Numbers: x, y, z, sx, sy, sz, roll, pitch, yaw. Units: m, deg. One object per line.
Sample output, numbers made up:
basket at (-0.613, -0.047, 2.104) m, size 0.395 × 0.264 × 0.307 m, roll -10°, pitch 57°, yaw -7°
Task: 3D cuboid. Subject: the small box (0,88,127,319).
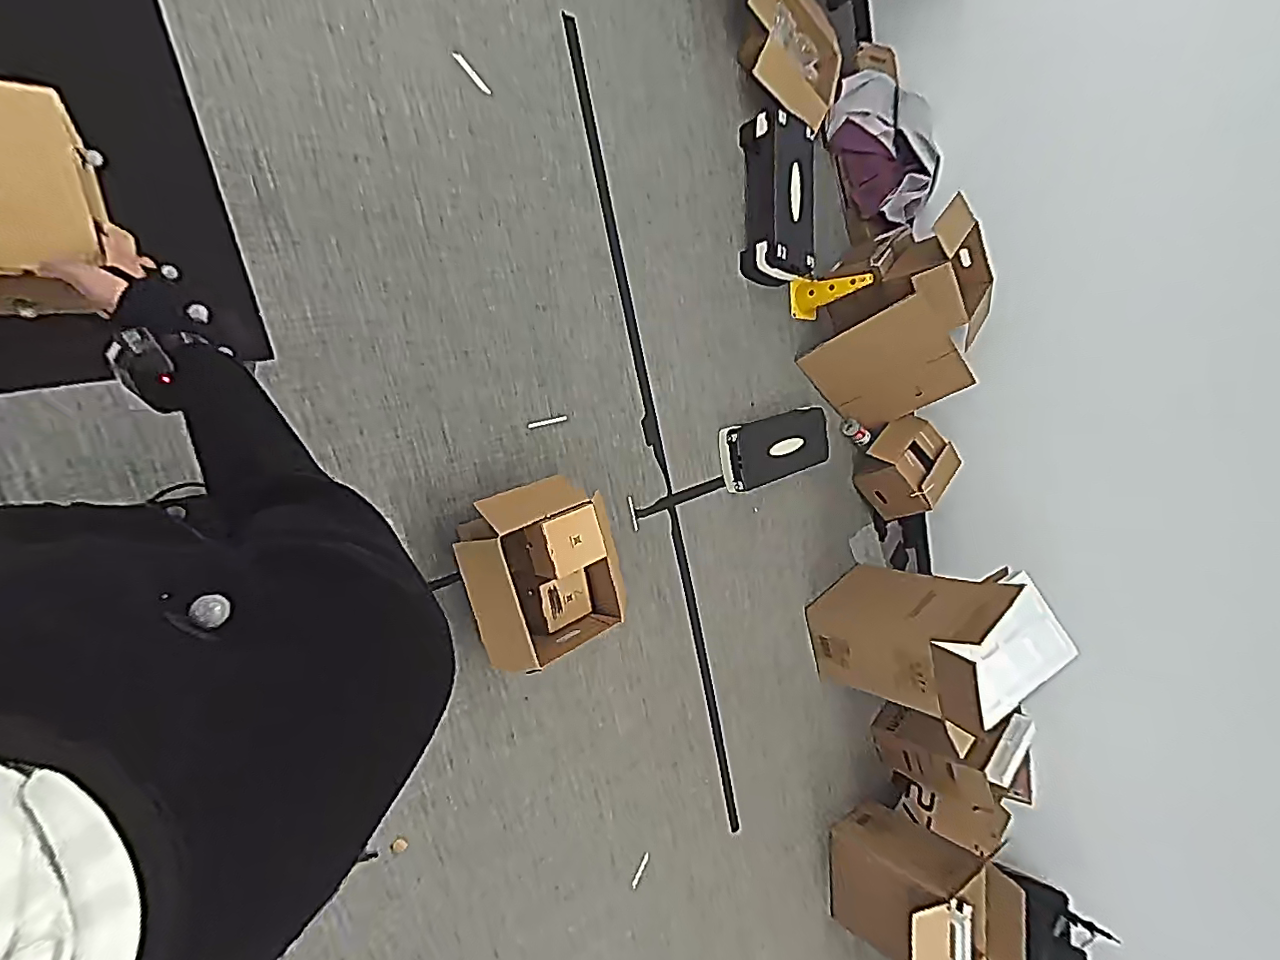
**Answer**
small box at (-0.659, -0.270, 0.546) m, size 0.168 × 0.176 × 0.179 m, roll -14°, pitch 100°, yaw -36°
